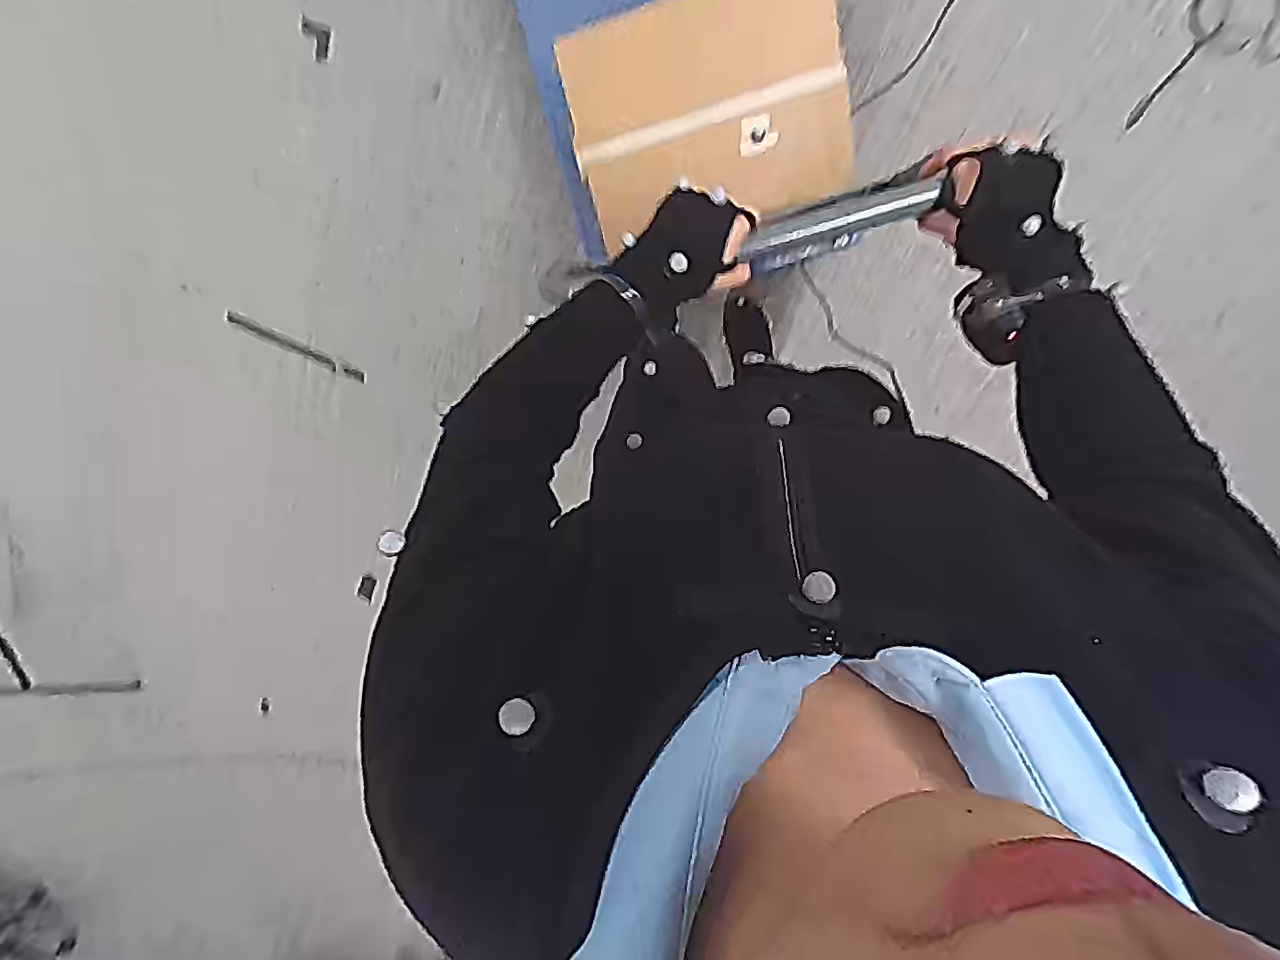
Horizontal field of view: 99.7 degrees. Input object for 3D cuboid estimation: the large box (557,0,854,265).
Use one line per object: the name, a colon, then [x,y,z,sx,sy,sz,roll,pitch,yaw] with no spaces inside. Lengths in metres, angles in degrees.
large box: [0.112,-0.595,0.958,0.408,0.320,0.320,-12,111,9]
